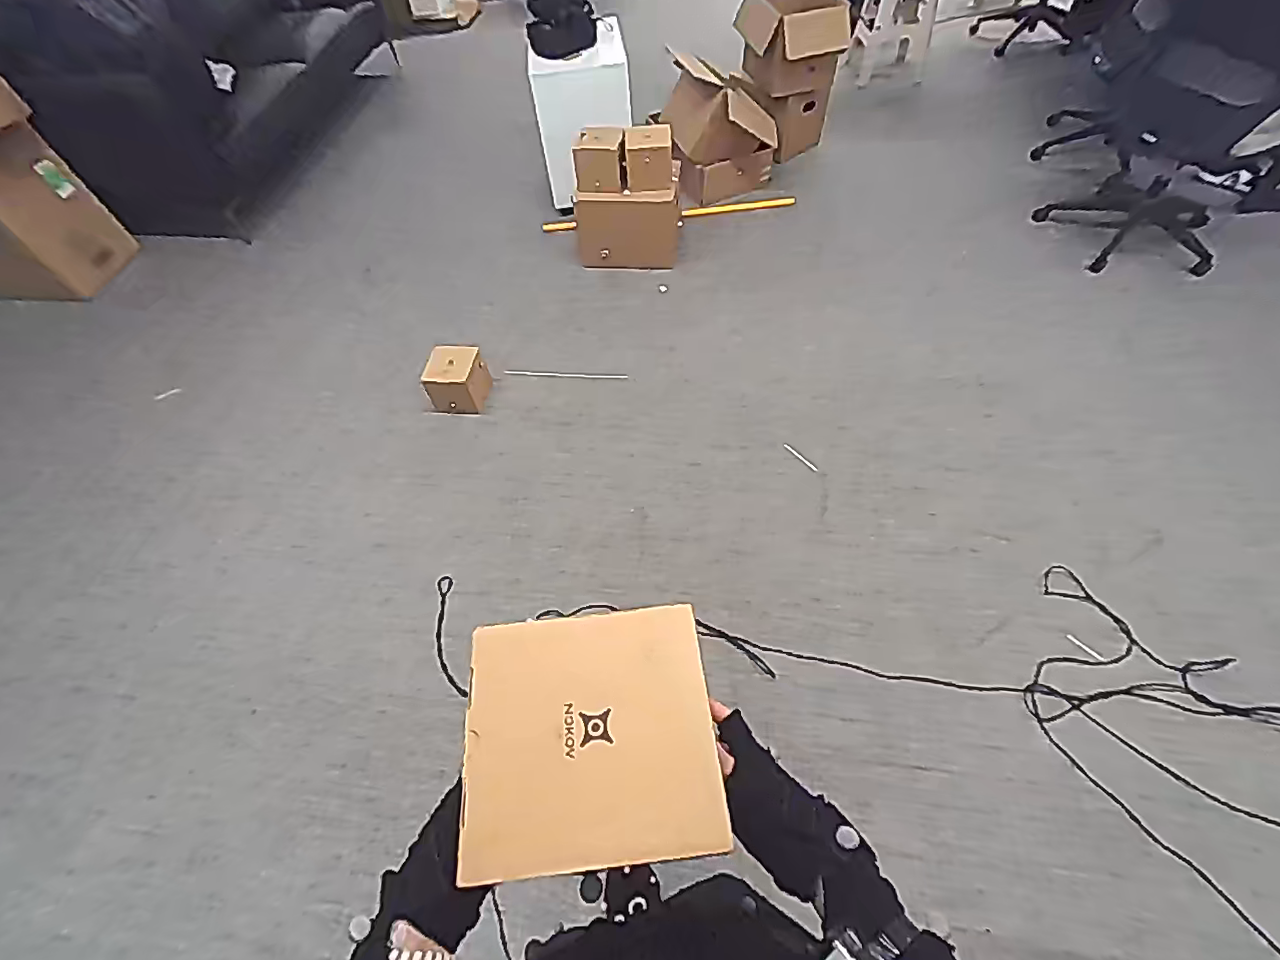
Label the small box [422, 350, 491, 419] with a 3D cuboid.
[{"bbox_3d":[-0.650,-0.343,1.943,0.168,0.176,0.179,3,56,7],"label":"small box"}]

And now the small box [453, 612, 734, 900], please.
[{"bbox_3d":[-0.034,0.222,0.439,0.179,0.176,0.168,-7,56,-2],"label":"small box"}]
